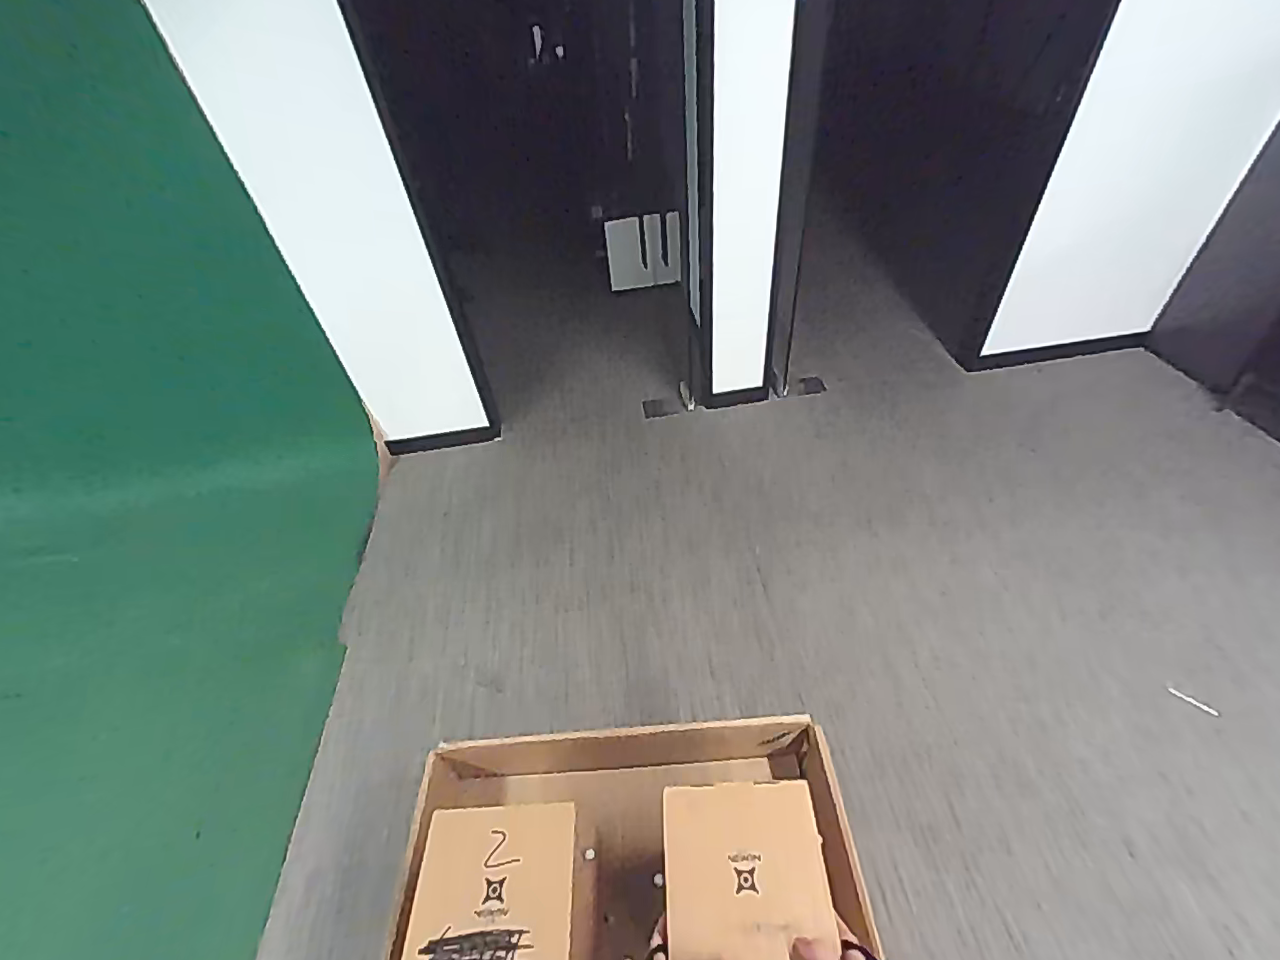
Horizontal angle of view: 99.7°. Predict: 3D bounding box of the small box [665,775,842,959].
[{"bbox_3d":[0.116,0.457,0.614,0.168,0.176,0.179,-5,46,5],"label":"small box"}]
